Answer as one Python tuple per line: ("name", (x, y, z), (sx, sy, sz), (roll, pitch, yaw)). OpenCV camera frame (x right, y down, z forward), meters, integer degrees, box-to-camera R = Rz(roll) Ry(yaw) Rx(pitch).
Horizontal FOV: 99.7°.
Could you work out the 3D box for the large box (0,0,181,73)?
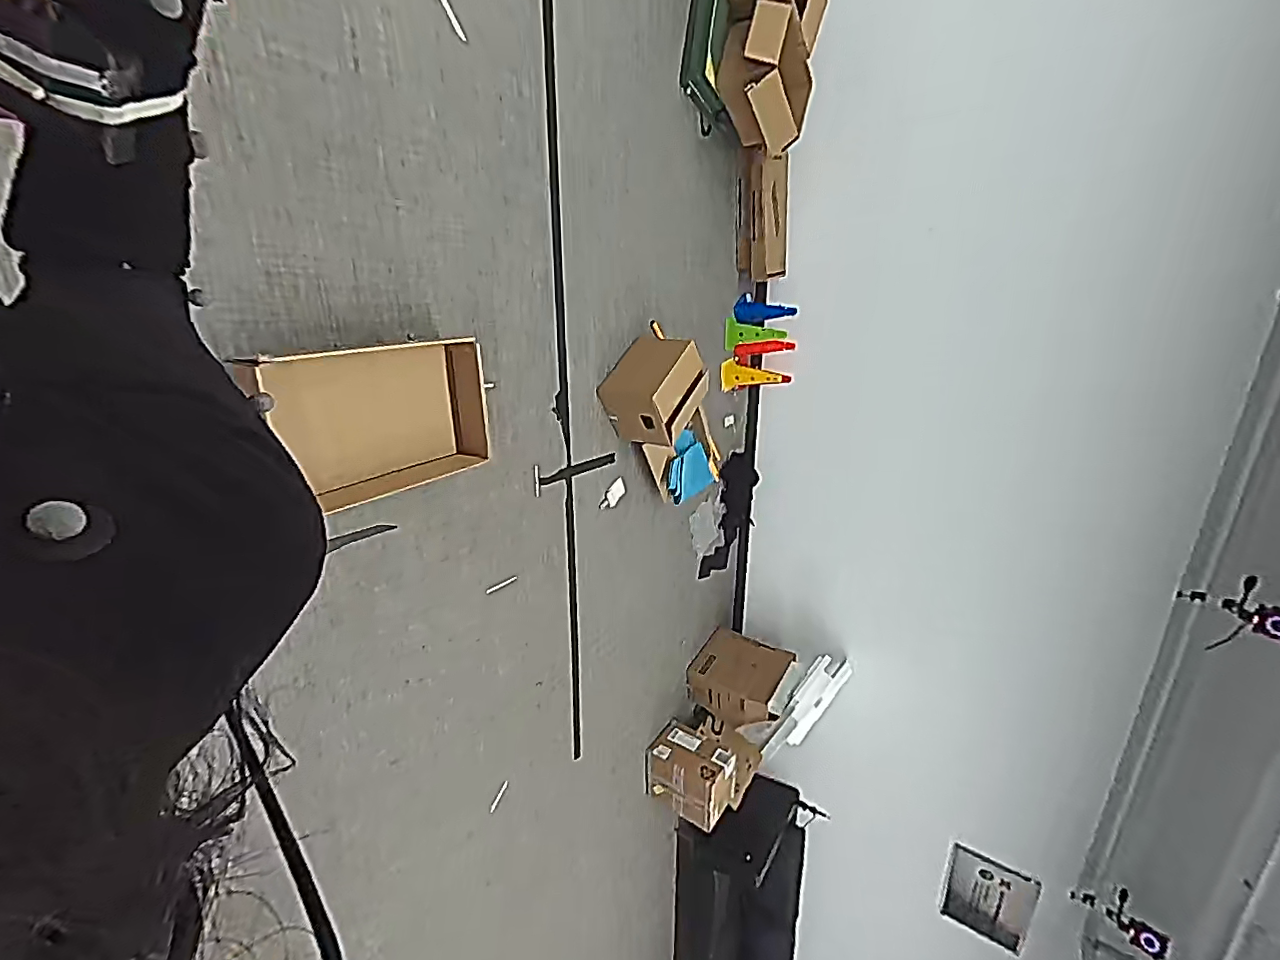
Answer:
("large box", (-0.537, -0.476, 0.266), (0.408, 0.320, 0.320), (-23, 120, -52))
